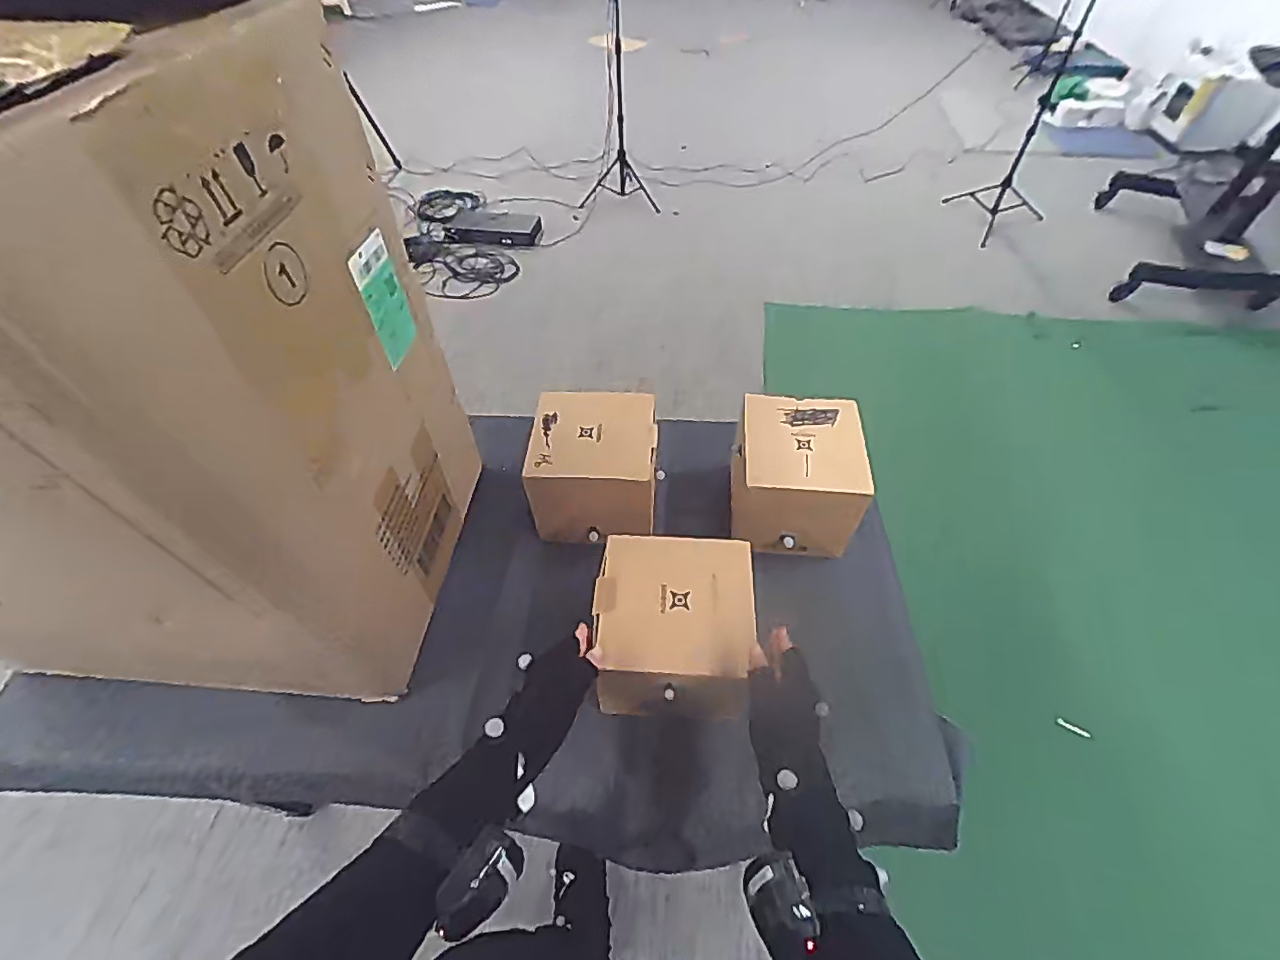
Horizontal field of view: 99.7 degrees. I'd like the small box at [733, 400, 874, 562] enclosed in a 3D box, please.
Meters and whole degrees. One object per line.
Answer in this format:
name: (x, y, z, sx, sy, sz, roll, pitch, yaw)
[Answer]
small box: (0.233, 0.002, 0.820, 0.168, 0.176, 0.179, 4, 52, 4)
